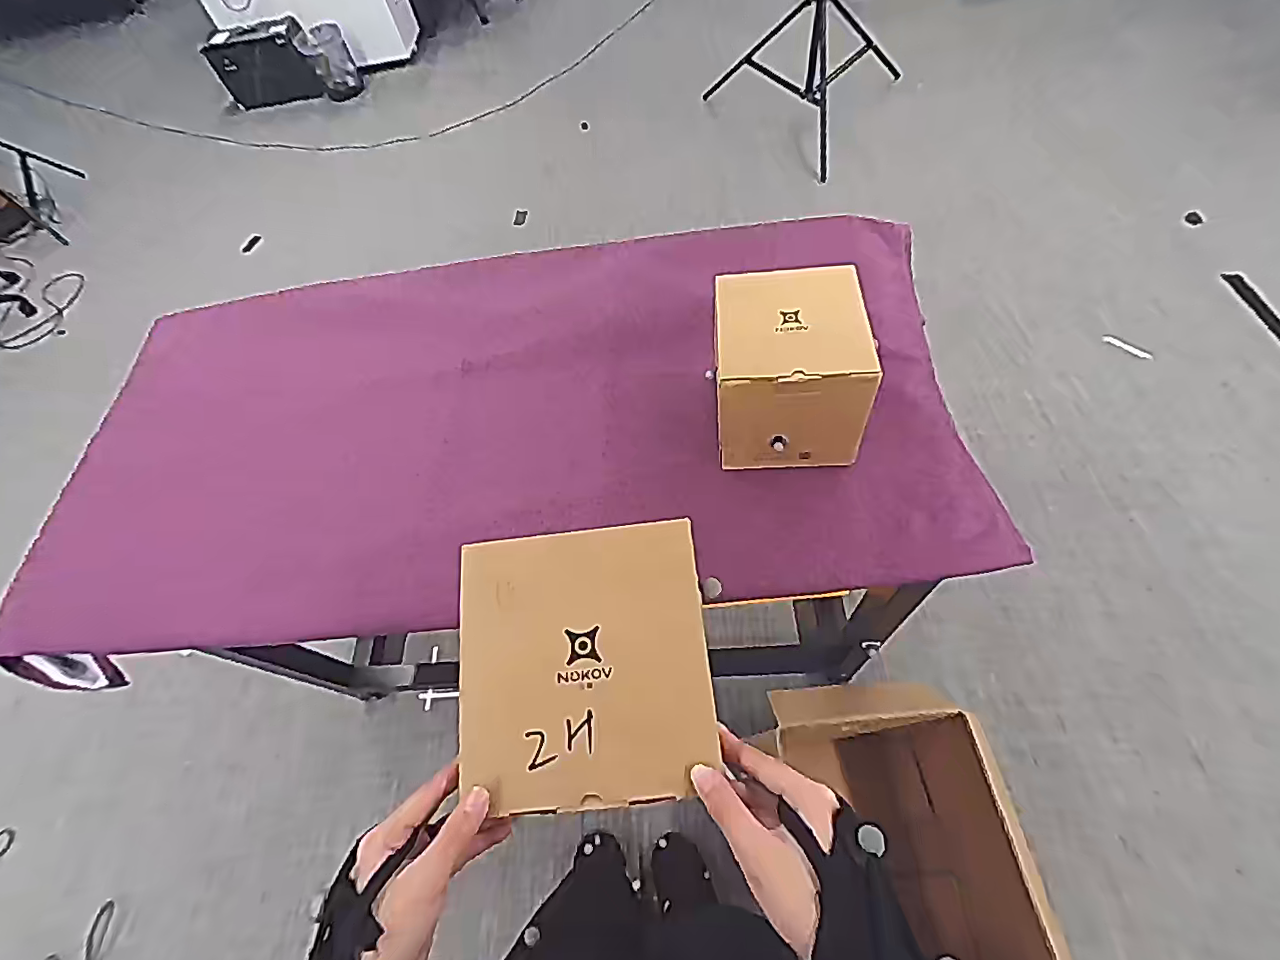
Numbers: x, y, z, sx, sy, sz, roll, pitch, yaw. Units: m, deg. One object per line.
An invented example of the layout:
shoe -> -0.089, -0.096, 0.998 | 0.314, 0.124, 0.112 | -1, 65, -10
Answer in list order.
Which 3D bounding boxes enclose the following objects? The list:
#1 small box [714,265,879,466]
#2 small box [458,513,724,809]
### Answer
small box -> 0.177, -0.136, 0.671 | 0.168, 0.176, 0.179 | -3, 58, 8
small box -> -0.031, 0.140, 0.431 | 0.168, 0.176, 0.179 | -8, 69, 3
